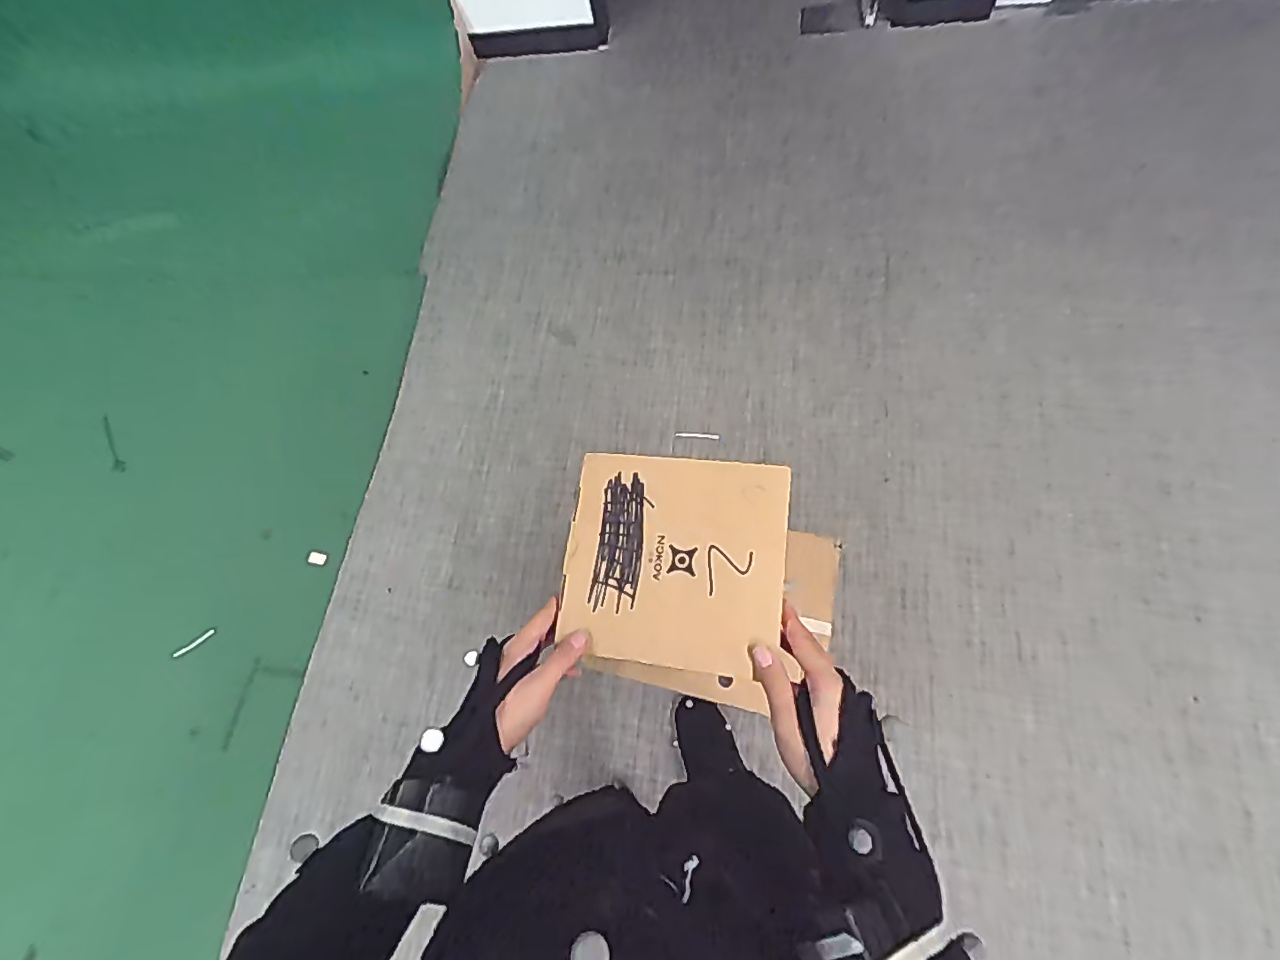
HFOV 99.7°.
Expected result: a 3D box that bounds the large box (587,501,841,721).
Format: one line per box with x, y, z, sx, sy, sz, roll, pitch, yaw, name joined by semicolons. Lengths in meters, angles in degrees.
0.146;0.259;1.079;0.408;0.320;0.320;10;74;11;large box
